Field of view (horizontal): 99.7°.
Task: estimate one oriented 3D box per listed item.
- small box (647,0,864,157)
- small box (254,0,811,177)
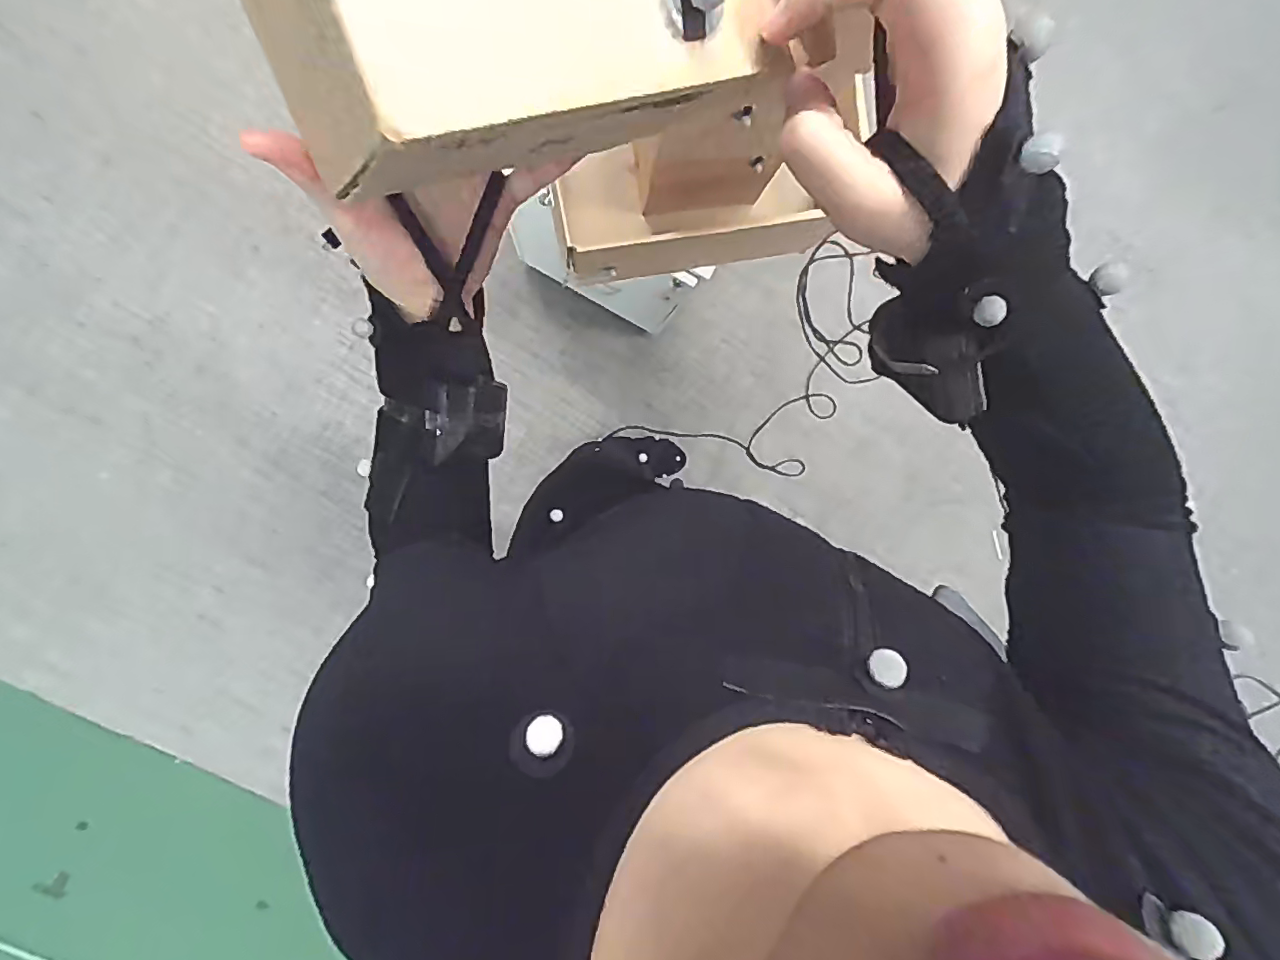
[{"bbox_3d":[0.097,-0.458,0.547,0.179,0.176,0.168,-9,95,-4],"label":"small box"},{"bbox_3d":[-0.060,-0.228,0.197,0.168,0.179,0.176,-28,122,-23],"label":"small box"}]
